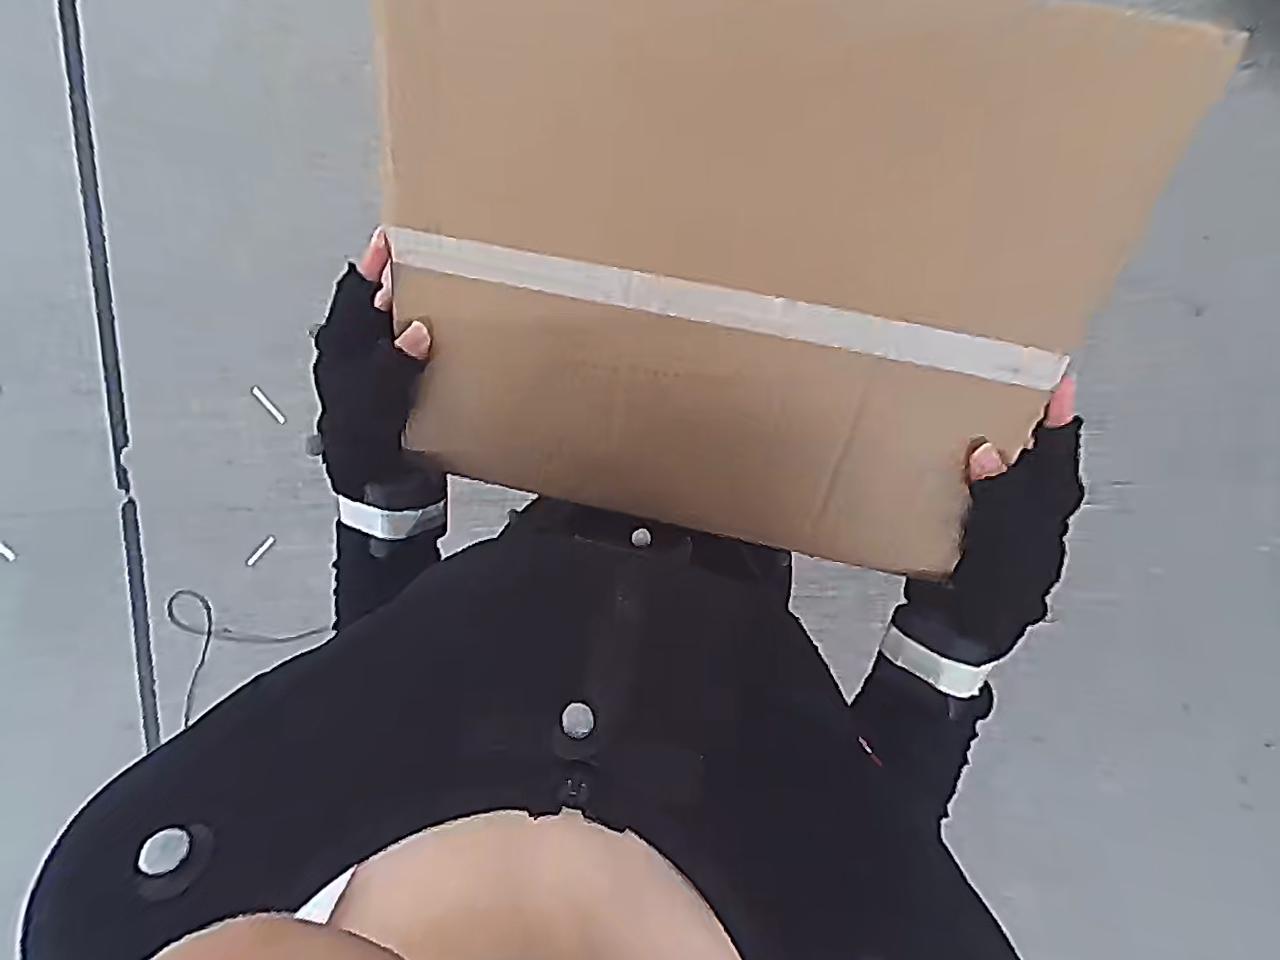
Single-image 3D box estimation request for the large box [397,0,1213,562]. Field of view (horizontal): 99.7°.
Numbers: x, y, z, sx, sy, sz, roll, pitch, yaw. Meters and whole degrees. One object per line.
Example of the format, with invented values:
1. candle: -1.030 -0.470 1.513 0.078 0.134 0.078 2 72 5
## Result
1. large box: 0.068 -0.178 0.459 0.408 0.320 0.320 12 120 3
